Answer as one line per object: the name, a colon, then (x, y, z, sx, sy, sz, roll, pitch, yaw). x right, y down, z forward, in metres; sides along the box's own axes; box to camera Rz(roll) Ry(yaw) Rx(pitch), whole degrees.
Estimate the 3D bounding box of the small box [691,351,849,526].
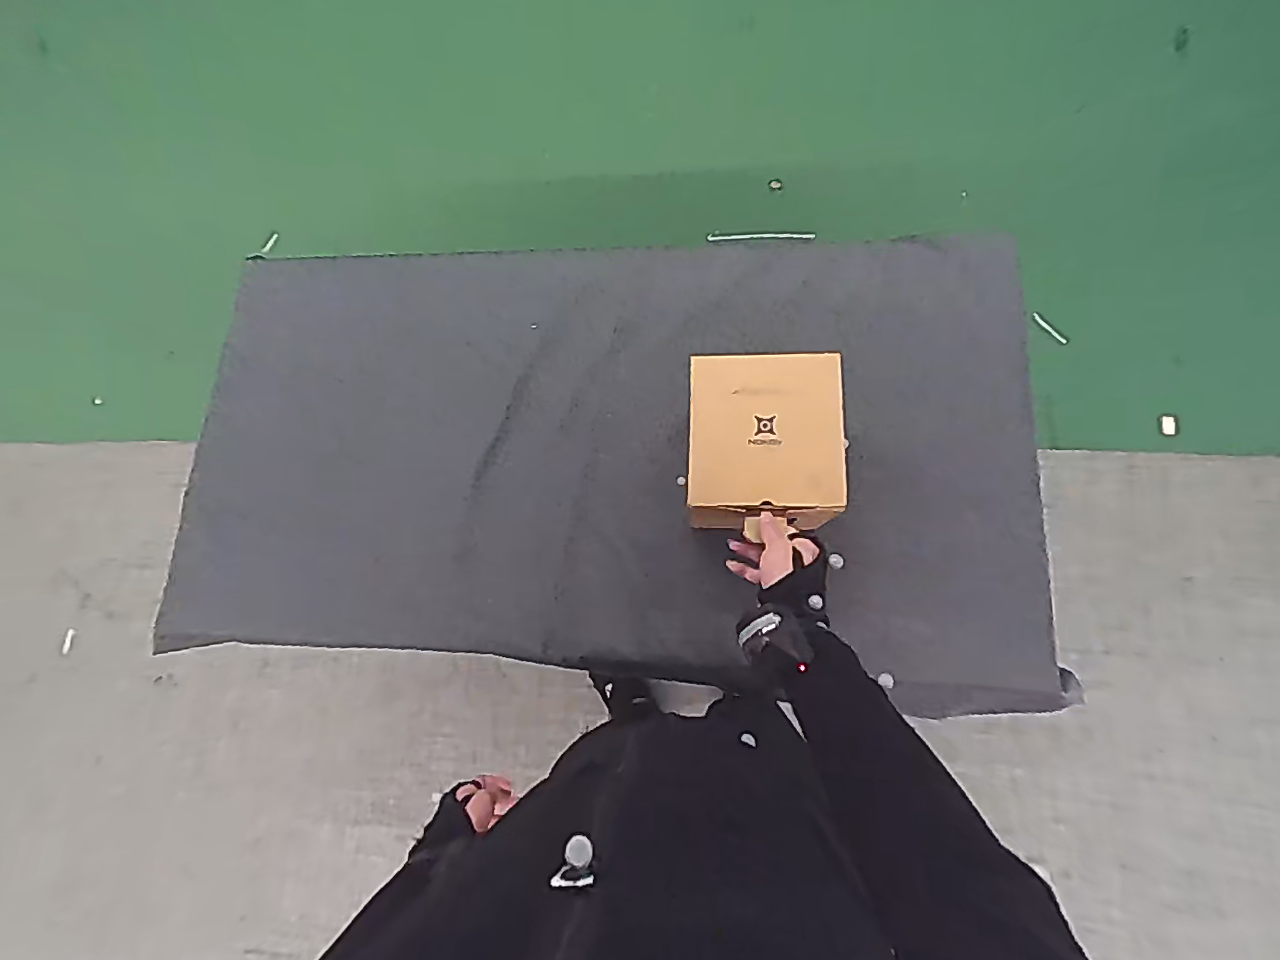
small box: (0.147, -0.040, 0.662, 0.168, 0.176, 0.179, 0, 76, 6)
